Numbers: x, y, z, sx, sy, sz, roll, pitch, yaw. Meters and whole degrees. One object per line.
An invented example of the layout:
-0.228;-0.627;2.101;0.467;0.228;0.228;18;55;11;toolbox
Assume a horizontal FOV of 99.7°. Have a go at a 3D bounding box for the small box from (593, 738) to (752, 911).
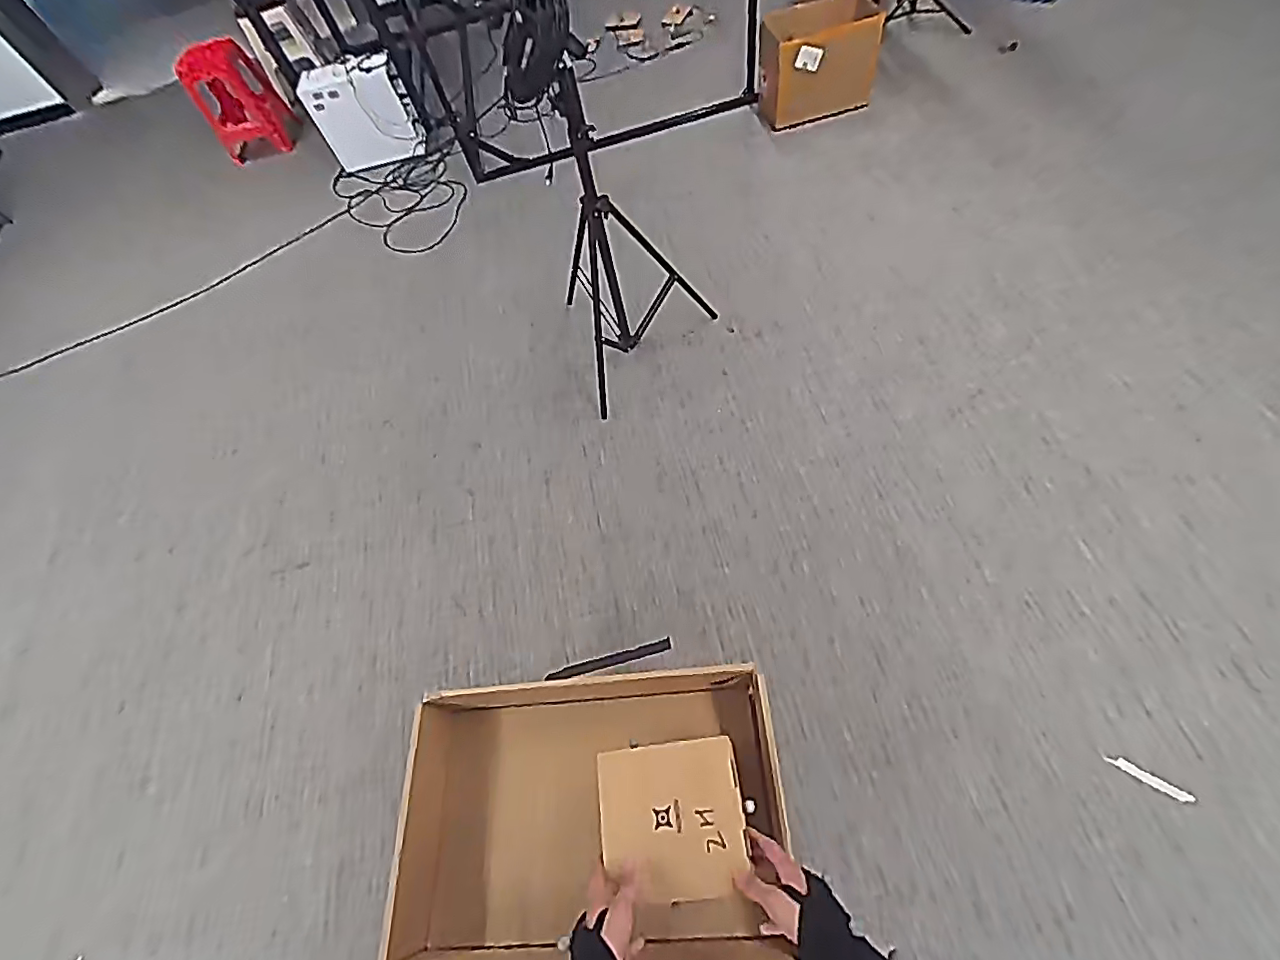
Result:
0.047;0.449;0.716;0.179;0.176;0.168;-11;59;5;small box
